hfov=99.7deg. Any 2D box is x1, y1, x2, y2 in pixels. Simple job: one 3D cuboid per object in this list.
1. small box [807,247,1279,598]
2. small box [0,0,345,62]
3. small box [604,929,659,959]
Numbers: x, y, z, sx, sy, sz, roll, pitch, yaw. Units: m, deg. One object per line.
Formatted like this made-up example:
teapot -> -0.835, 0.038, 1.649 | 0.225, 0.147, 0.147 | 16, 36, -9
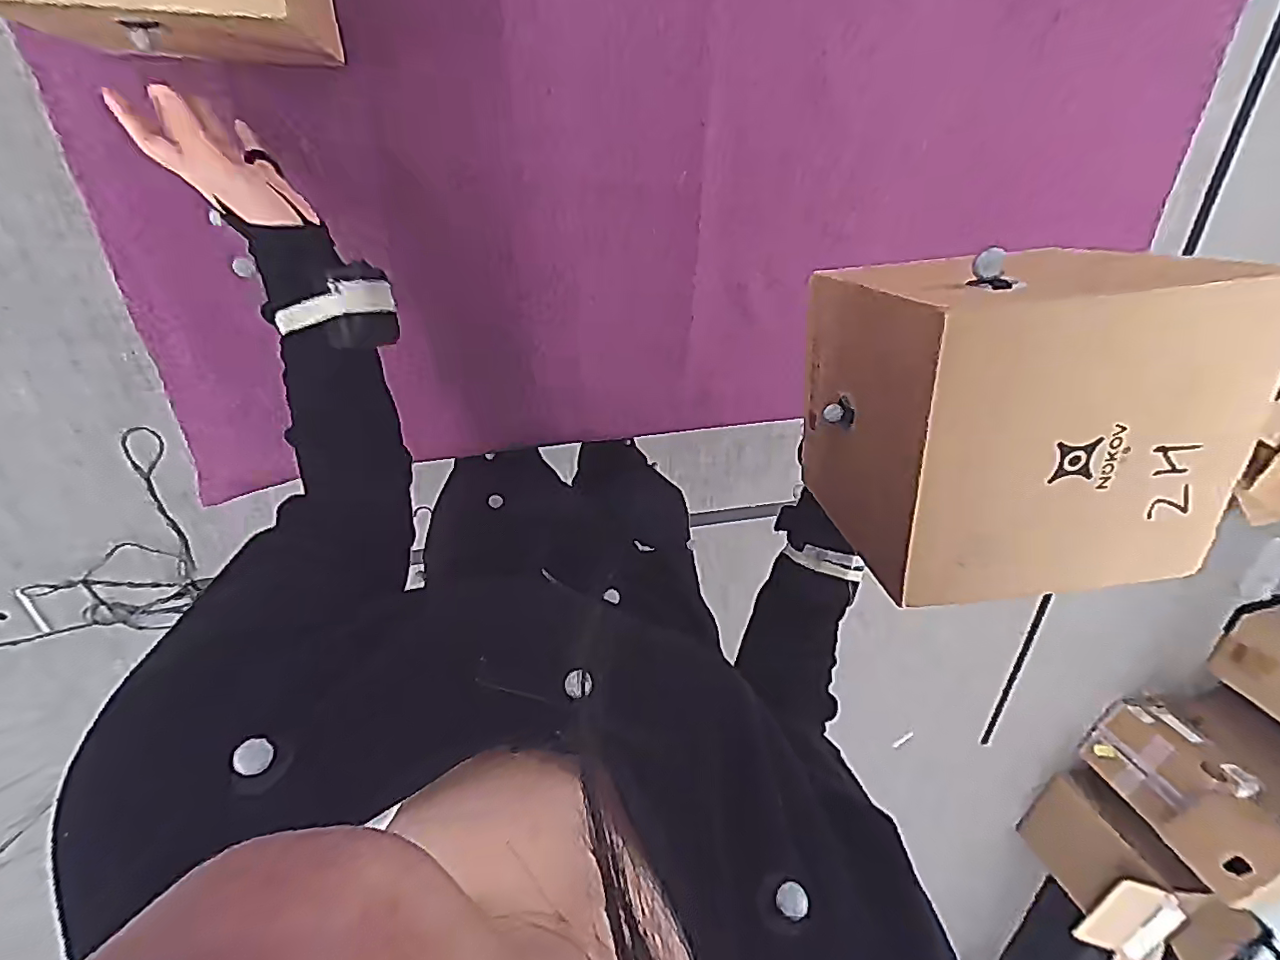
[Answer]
small box -> 0.219, -0.050, 0.345 | 0.179, 0.176, 0.168 | -7, 117, -2
small box -> -0.315, -0.382, 0.342 | 0.179, 0.176, 0.168 | -7, 121, -13
small box -> -0.025, 1.642, 1.806 | 0.168, 0.176, 0.179 | -3, 117, -14
